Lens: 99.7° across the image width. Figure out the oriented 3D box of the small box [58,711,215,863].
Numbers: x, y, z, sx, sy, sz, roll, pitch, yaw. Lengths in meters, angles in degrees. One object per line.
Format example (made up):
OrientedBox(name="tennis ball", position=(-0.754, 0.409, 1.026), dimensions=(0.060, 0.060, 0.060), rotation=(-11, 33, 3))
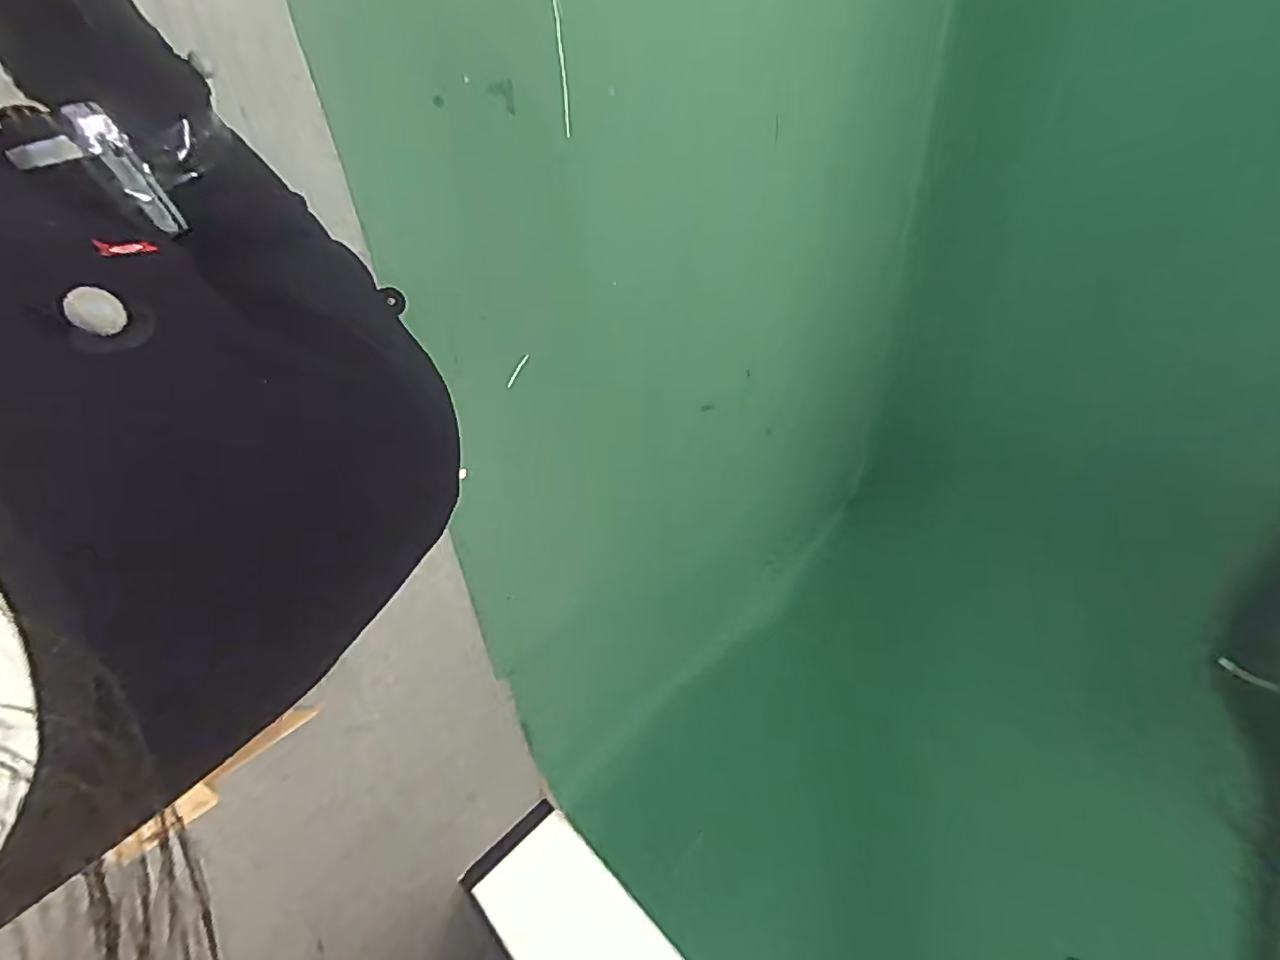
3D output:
OrientedBox(name="small box", position=(-0.998, 0.595, 1.073), dimensions=(0.168, 0.176, 0.179), rotation=(-33, 132, -34))
